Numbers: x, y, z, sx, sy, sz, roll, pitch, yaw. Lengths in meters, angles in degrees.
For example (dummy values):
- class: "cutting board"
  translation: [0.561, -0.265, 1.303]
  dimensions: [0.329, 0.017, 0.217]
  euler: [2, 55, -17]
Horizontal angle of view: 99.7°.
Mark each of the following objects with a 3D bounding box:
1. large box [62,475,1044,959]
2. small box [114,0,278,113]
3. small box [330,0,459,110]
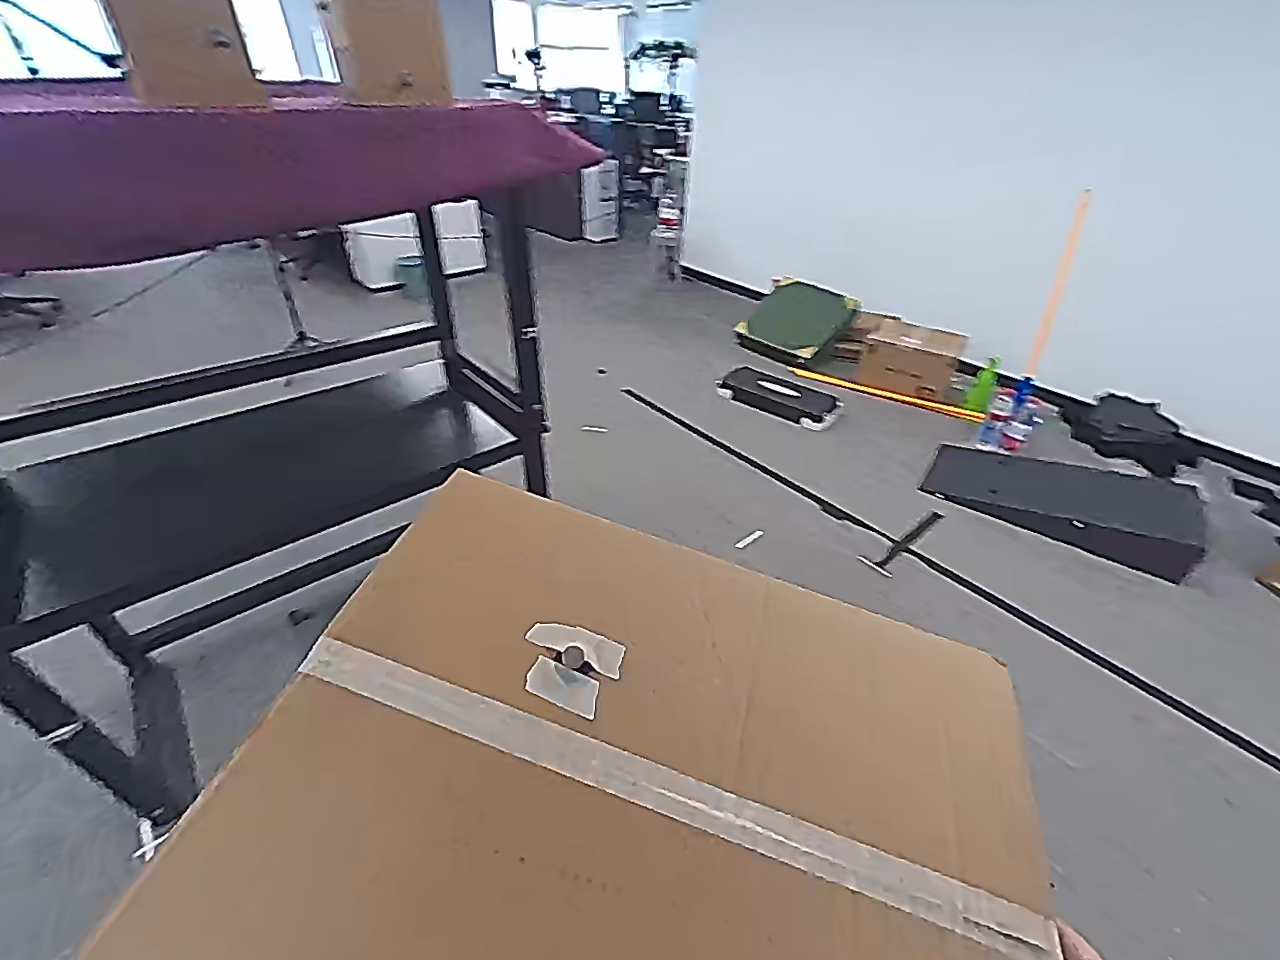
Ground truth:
- class: "large box"
  translation: [-0.016, 0.254, 0.384]
  dimensions: [0.408, 0.320, 0.320]
  euler: [17, 46, 7]
- class: "small box"
  translation: [-0.723, -0.711, 0.886]
  dimensions: [0.179, 0.176, 0.168]
  euler: [-24, 43, -30]
- class: "small box"
  translation: [-0.461, -0.814, 1.031]
  dimensions: [0.179, 0.176, 0.168]
  euler: [-24, 43, -30]
